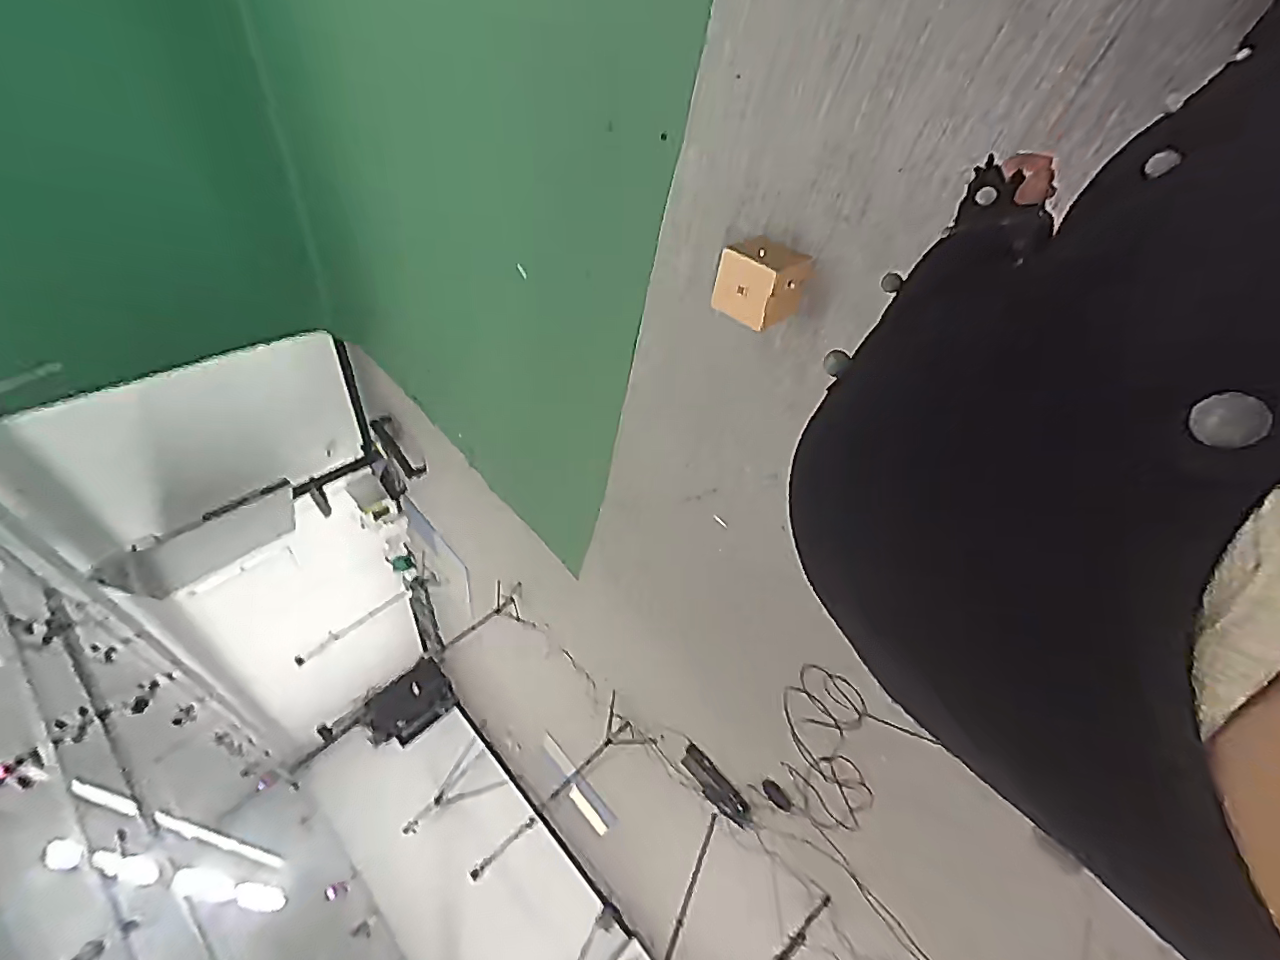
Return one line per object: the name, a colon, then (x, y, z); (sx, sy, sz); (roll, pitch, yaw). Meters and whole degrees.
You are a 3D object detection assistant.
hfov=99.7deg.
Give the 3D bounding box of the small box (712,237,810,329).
small box: (0.326, -0.536, 1.452); (0.179, 0.176, 0.168); (39, 140, 27)
